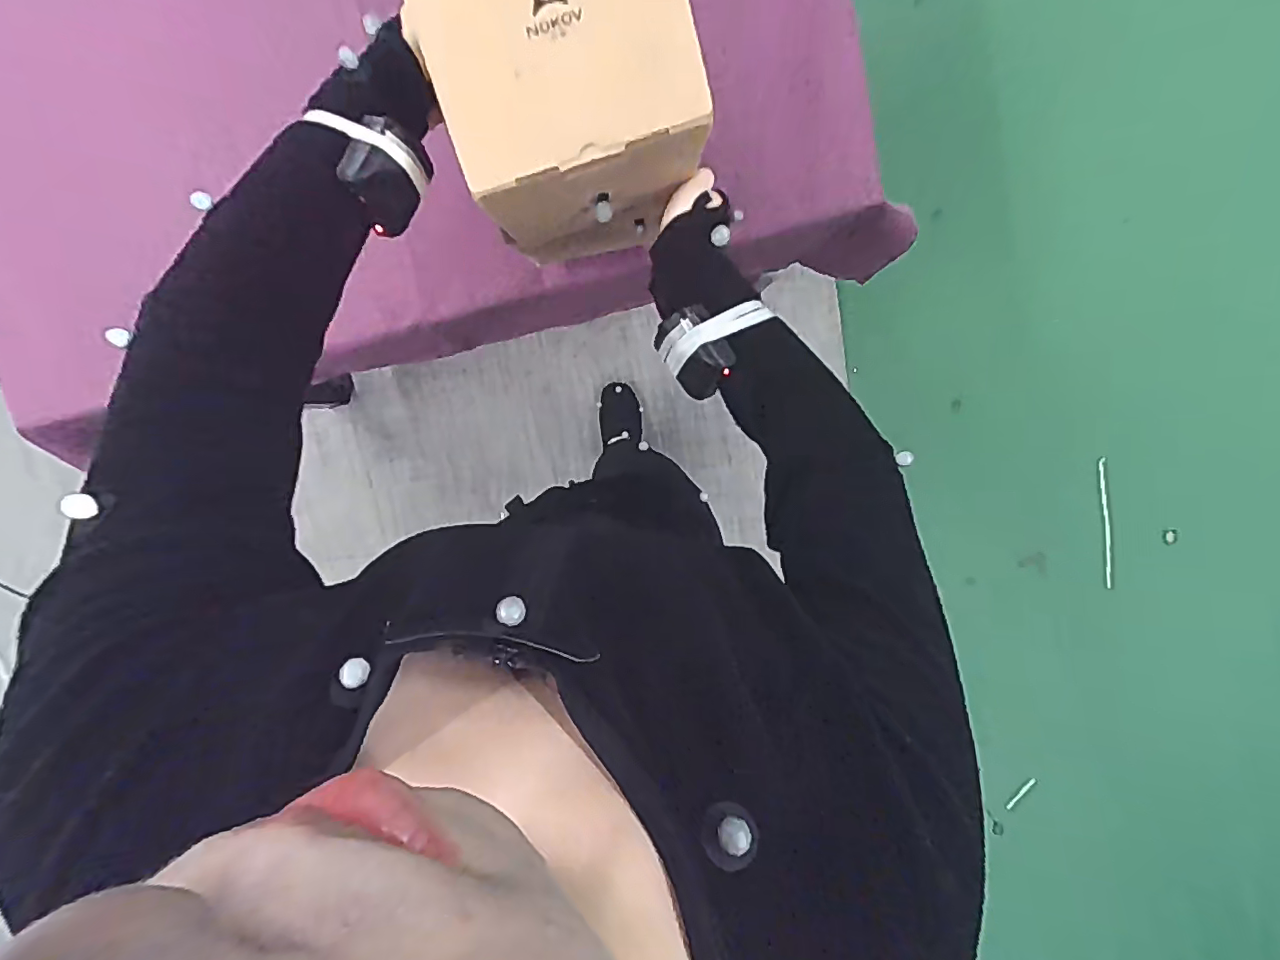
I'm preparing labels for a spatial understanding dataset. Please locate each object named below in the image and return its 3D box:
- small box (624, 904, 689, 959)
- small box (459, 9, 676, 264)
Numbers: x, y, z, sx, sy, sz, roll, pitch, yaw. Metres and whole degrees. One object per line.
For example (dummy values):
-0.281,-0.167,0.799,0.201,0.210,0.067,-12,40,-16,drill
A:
0.053,1.415,1.612,0.179,0.176,0.168,-10,99,1,small box
-0.064,-0.340,0.574,0.179,0.176,0.168,-11,104,2,small box
